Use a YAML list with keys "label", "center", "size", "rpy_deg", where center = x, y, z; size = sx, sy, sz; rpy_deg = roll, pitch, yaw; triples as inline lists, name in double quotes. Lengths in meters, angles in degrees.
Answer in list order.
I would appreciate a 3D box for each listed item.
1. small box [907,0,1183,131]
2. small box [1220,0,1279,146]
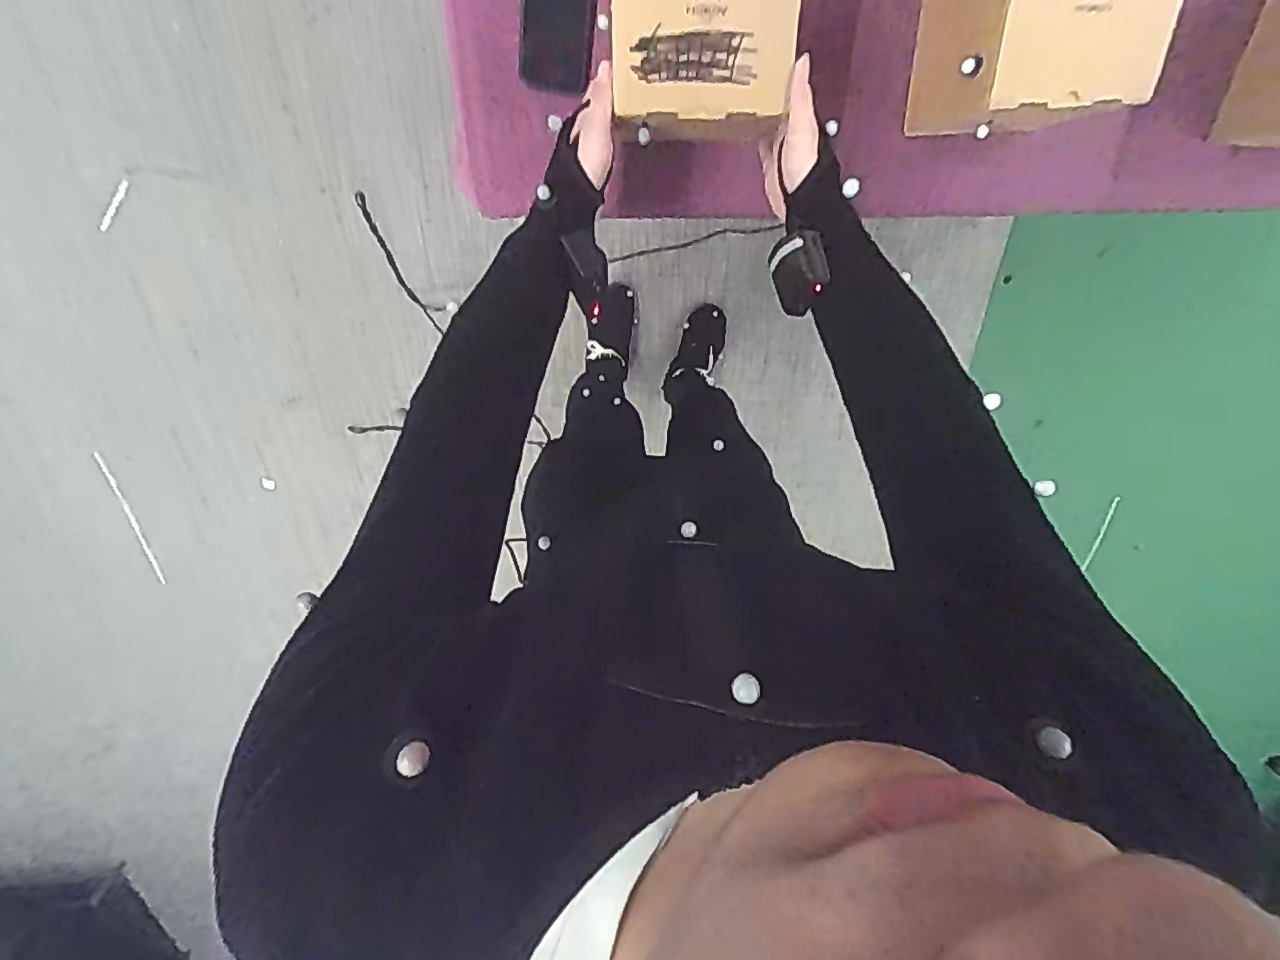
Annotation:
- label: "small box"
  center: [0.398, -0.471, 0.547]
  size: [0.168, 0.176, 0.179]
  rpy_deg: [-4, 116, -2]
- label: "small box"
  center: [0.798, -0.465, 0.571]
  size: [0.168, 0.176, 0.179]
  rpy_deg: [1, 117, -2]
